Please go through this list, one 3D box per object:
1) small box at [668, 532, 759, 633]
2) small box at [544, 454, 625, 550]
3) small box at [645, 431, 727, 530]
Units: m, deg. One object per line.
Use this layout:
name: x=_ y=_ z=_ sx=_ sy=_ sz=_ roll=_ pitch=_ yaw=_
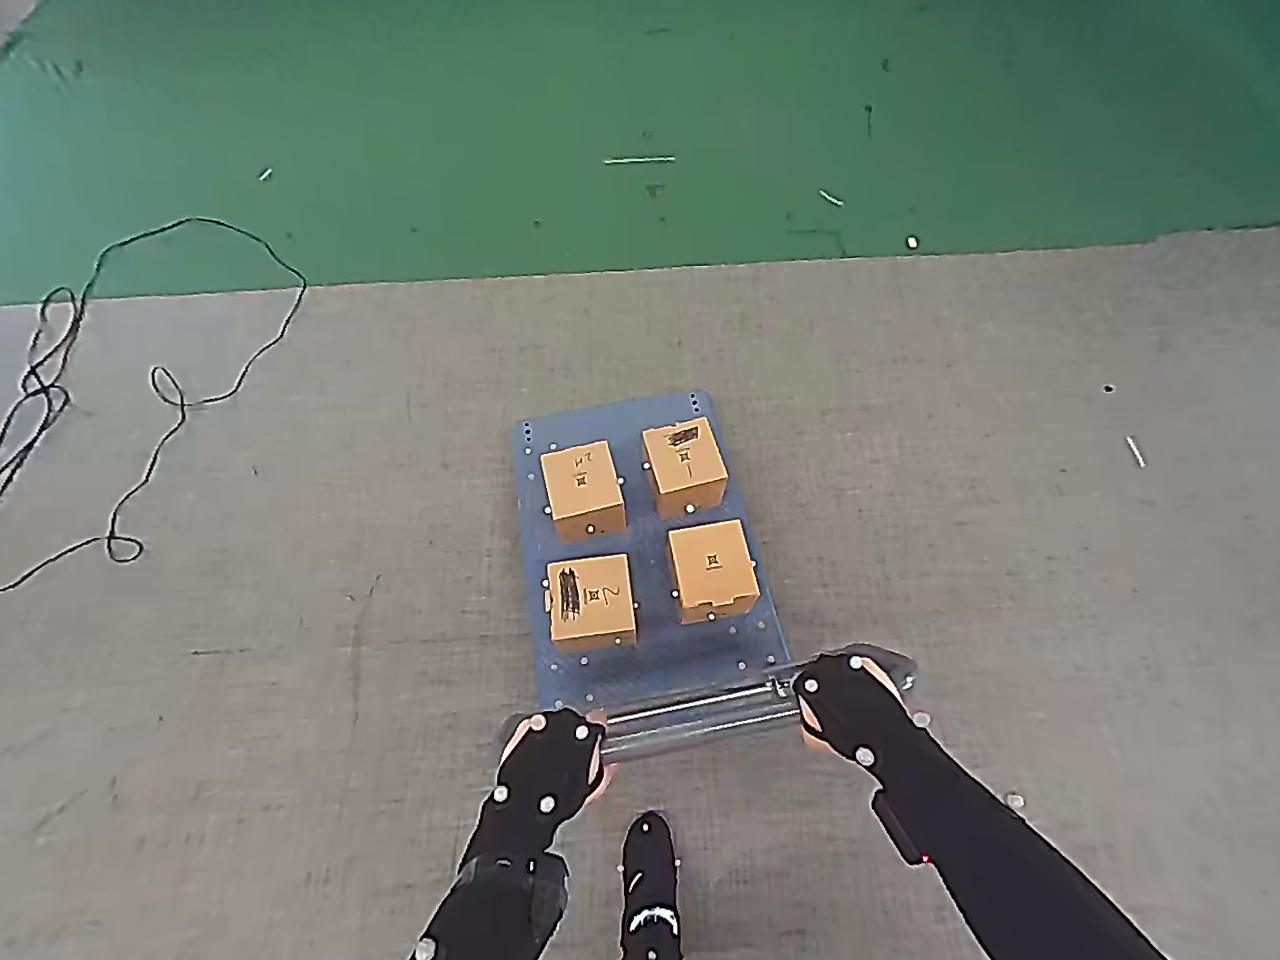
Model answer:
small box: x=0.160 y=0.241 z=1.256 sx=0.168 sy=0.176 sz=0.179 roll=-9 pitch=63 yaw=-4
small box: x=-0.135 y=0.064 z=1.351 sx=0.168 sy=0.176 sz=0.179 roll=-13 pitch=63 yaw=-7
small box: x=0.109 y=0.004 z=1.377 sx=0.168 sy=0.176 sz=0.179 roll=-13 pitch=64 yaw=-5
